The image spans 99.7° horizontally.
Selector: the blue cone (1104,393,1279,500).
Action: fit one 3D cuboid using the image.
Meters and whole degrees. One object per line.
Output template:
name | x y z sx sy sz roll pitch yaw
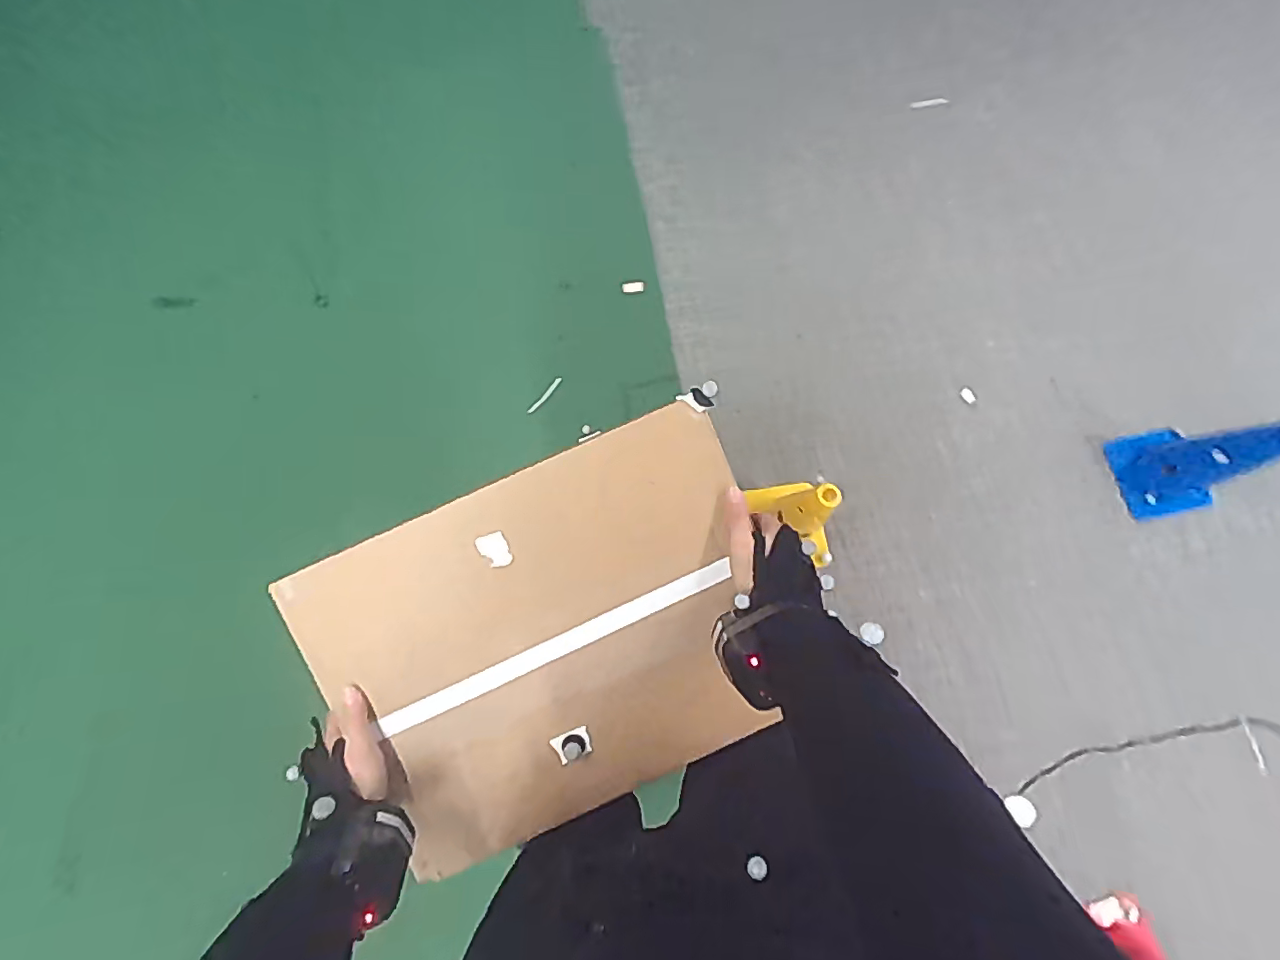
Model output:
blue cone | 1.199 -0.096 1.103 0.193 0.380 0.192 -11 75 -2
